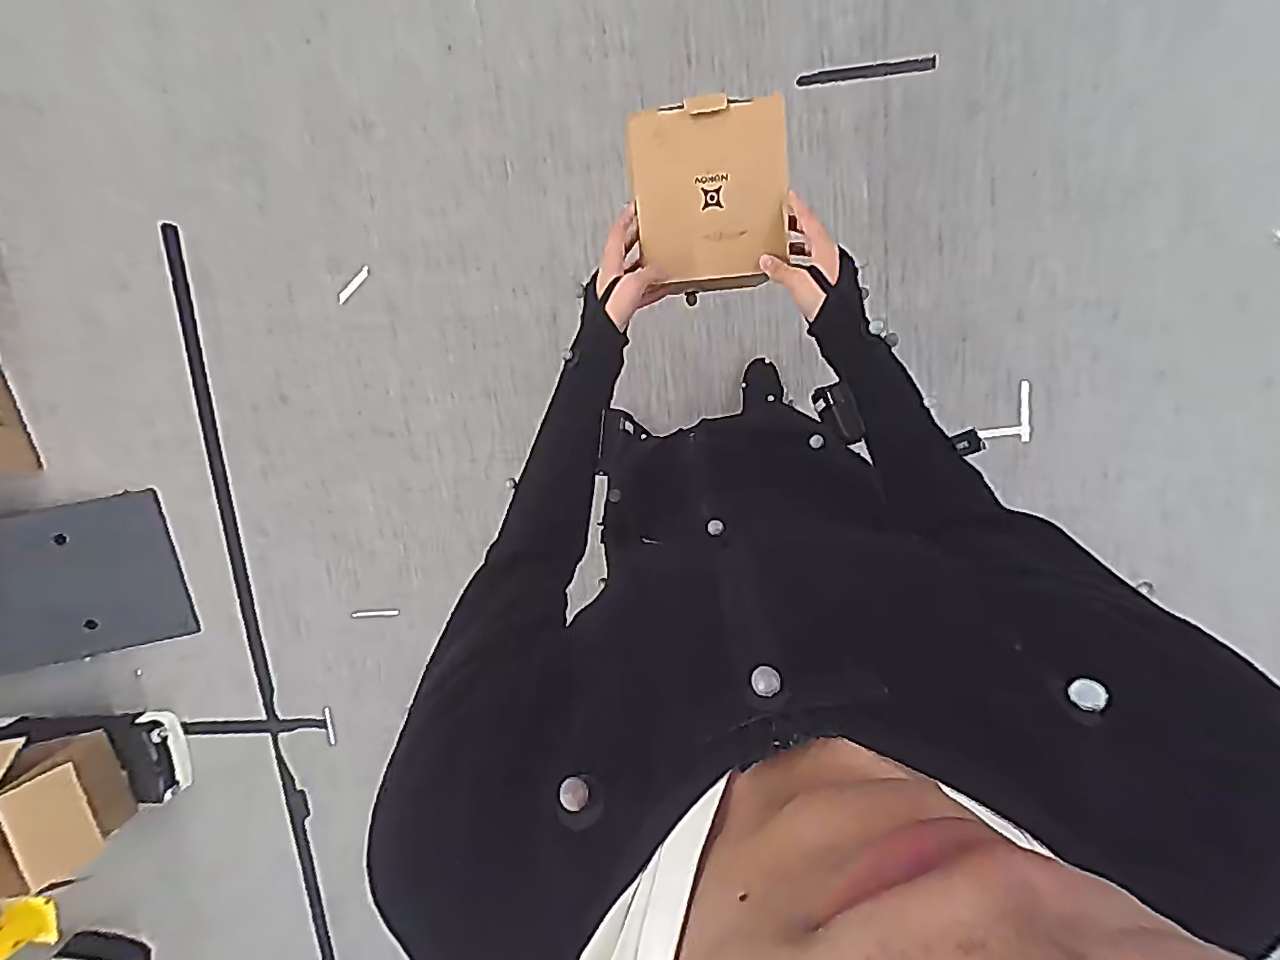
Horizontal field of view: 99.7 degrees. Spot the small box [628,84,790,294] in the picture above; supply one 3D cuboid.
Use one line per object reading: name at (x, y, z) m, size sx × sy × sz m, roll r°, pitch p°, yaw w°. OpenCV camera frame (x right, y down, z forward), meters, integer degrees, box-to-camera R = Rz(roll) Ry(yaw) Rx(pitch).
small box at (0.074, -0.331, 0.648) m, size 0.168 × 0.176 × 0.179 m, roll -5°, pitch 103°, yaw 1°
